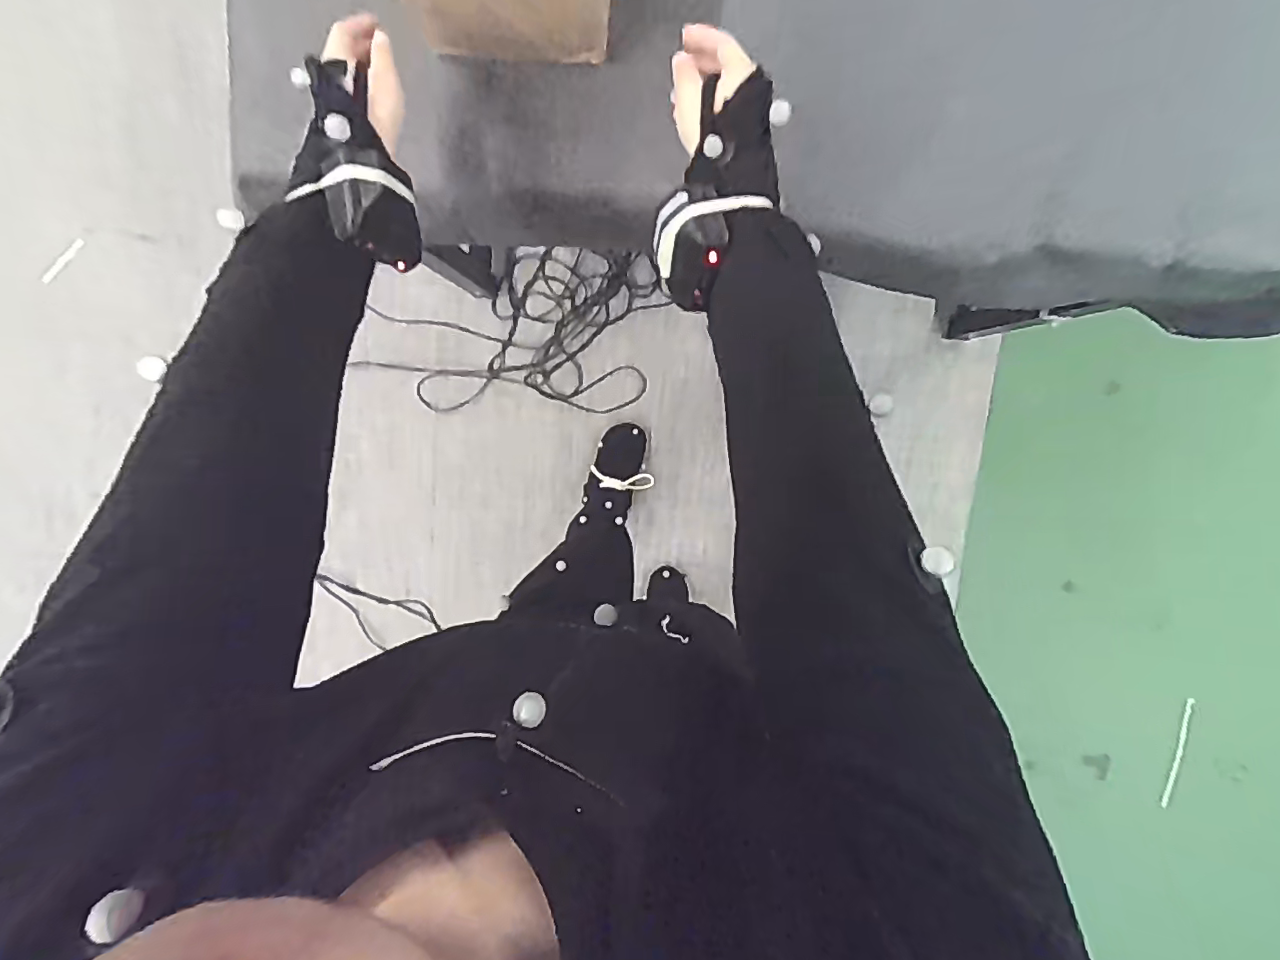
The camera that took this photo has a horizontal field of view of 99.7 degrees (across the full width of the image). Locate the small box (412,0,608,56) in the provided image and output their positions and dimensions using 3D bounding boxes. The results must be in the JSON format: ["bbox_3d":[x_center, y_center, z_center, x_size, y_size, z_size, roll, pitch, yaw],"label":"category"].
[{"bbox_3d":[-0.115,-0.492,0.446,0.179,0.176,0.168,3,99,-2],"label":"small box"}]
